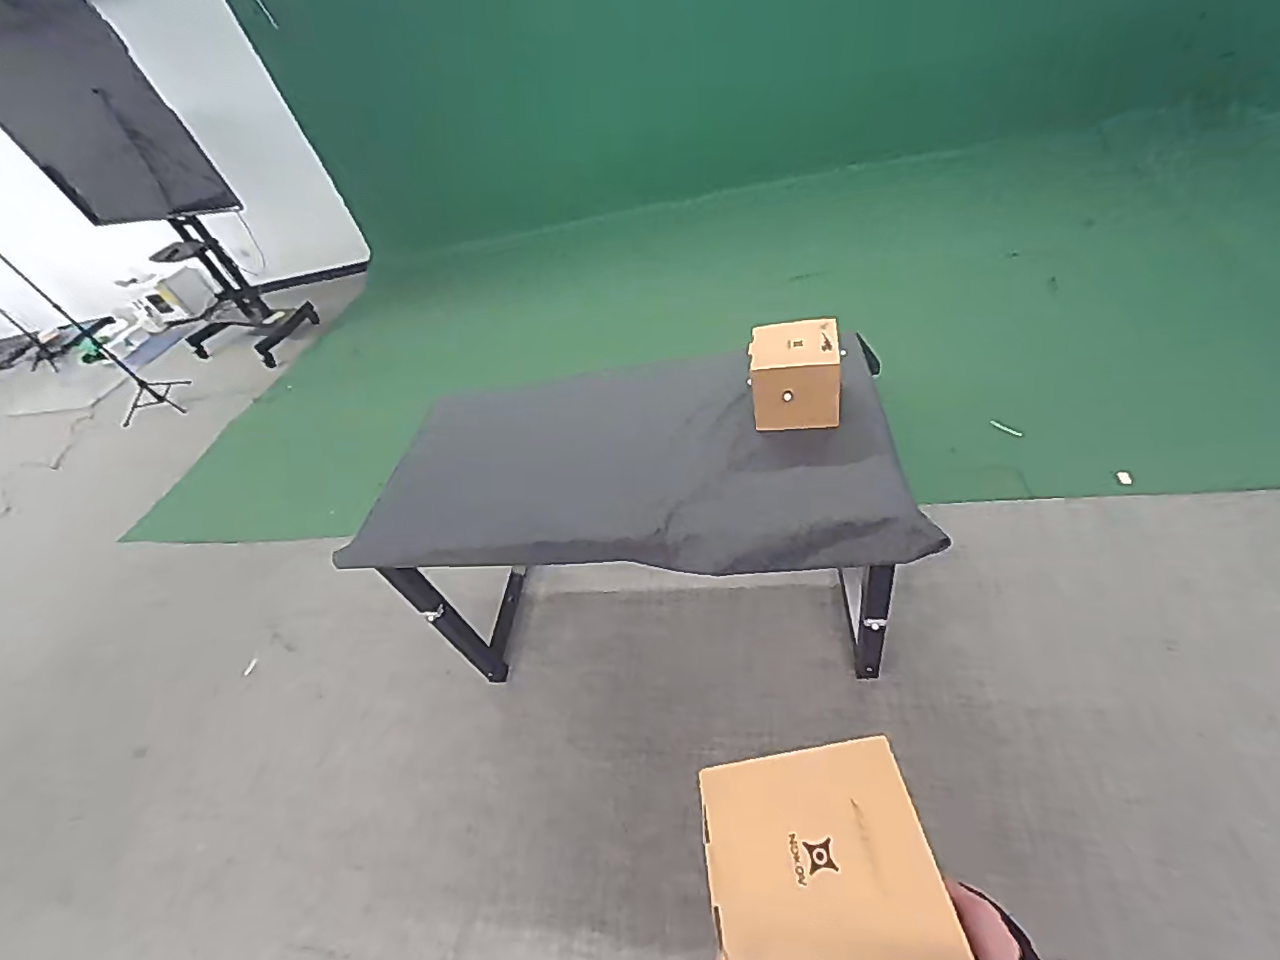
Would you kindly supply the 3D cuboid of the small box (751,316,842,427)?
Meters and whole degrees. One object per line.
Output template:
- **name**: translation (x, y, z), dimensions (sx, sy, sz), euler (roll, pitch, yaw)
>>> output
- **small box**: translation (0.343, -0.230, 1.177), dimensions (0.179, 0.176, 0.168), euler (-2, 48, 18)

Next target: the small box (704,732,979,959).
- **small box**: translation (0.170, 0.357, 0.488), dimensions (0.179, 0.176, 0.168), euler (-15, 41, 9)
